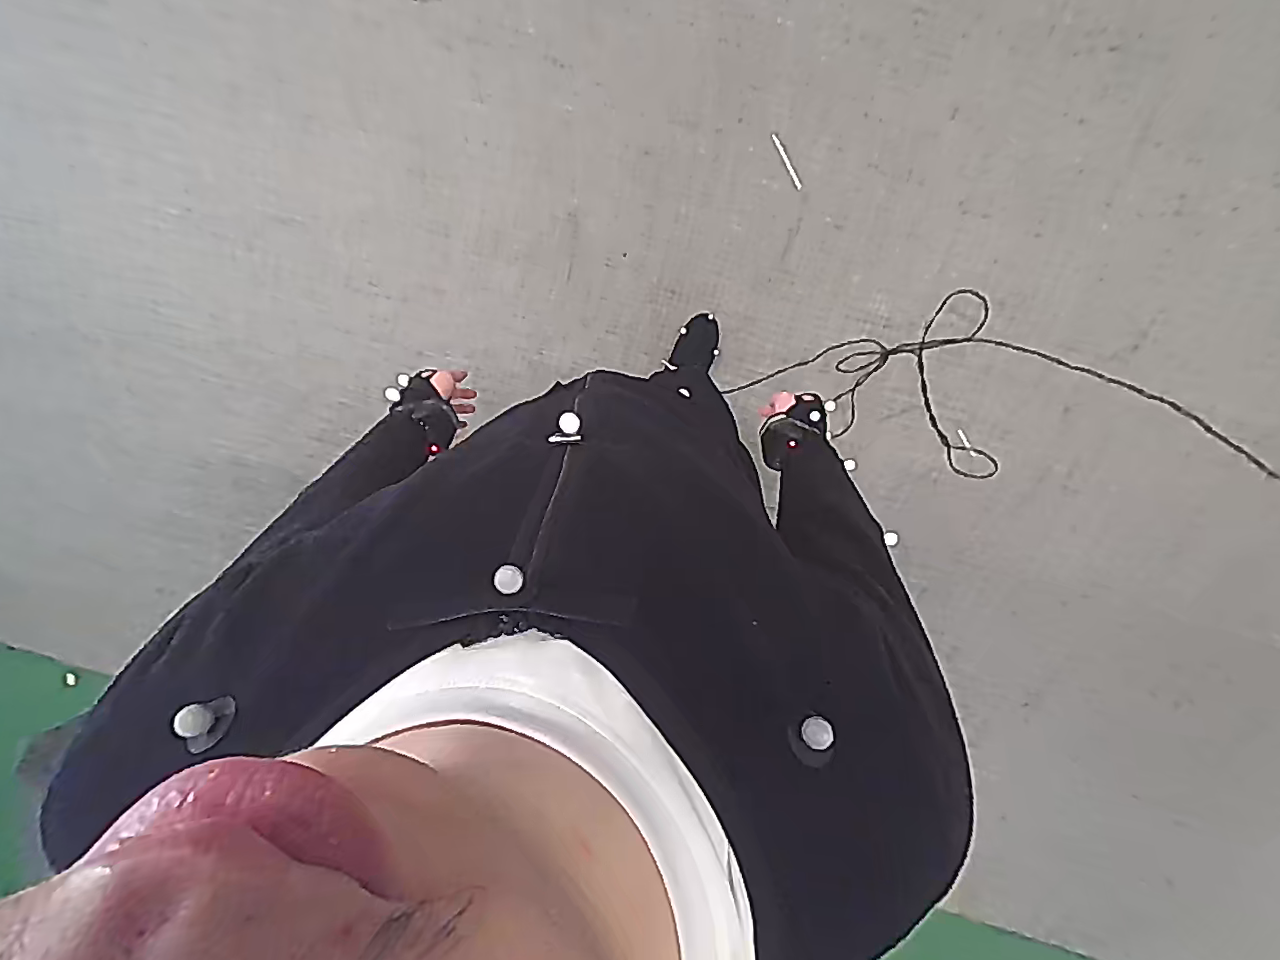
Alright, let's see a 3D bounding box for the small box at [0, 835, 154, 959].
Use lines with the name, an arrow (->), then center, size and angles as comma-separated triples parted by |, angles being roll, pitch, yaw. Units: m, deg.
small box -> -1.236, 0.937, 1.193 | 0.168, 0.176, 0.179 | 33, 108, -3
